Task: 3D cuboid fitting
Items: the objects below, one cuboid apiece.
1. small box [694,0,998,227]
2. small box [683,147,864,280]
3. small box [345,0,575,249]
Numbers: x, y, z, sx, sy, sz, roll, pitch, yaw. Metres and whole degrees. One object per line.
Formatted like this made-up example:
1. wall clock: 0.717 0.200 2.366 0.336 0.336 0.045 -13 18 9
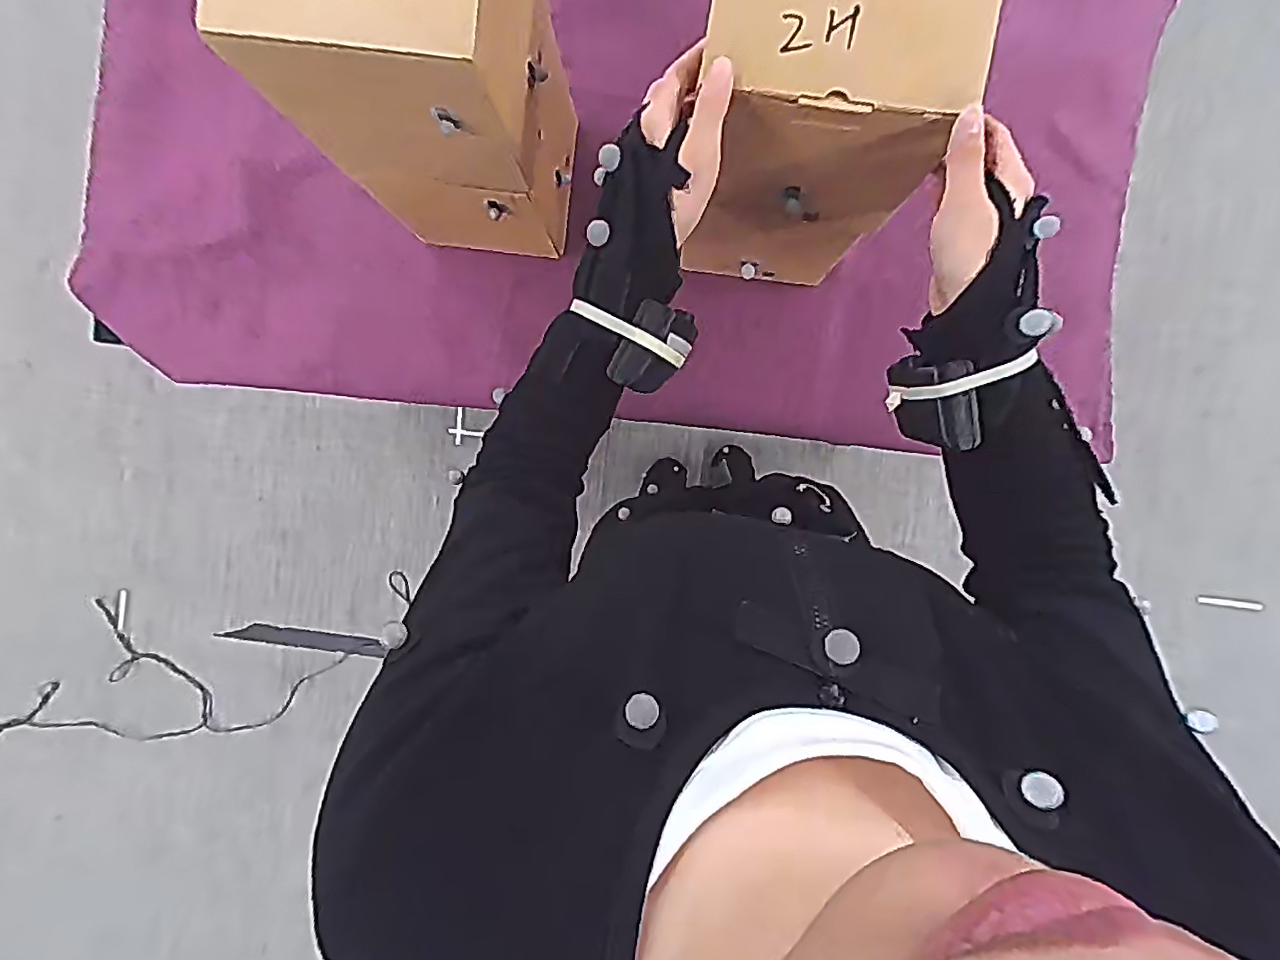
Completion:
1. small box: 0.133 -0.315 0.391 0.168 0.176 0.179 10 92 4
2. small box: 0.138 -0.330 0.561 0.168 0.176 0.179 8 93 2
3. small box: -0.175 -0.362 0.572 0.179 0.176 0.168 6 93 1
